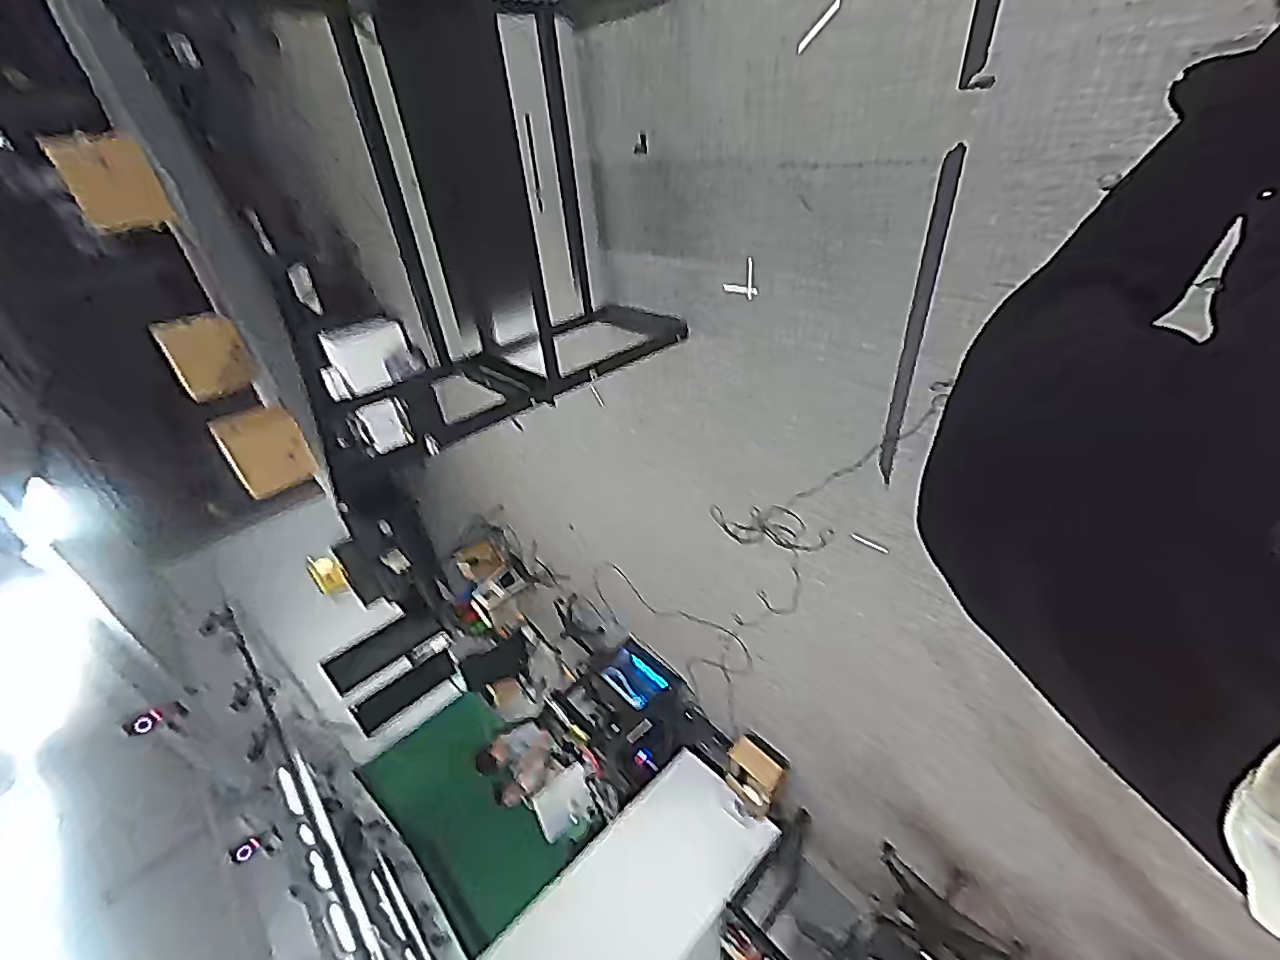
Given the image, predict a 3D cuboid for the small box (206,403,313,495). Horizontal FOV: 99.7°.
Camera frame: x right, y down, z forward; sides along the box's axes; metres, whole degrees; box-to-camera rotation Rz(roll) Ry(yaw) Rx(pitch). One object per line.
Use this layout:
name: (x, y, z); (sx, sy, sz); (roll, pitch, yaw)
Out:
small box: (-0.995, -0.091, 1.423); (0.179, 0.176, 0.168); (24, 134, 41)

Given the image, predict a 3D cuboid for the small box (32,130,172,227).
small box: (-1.243, -0.705, 1.255); (0.168, 0.176, 0.179); (30, 138, 38)
